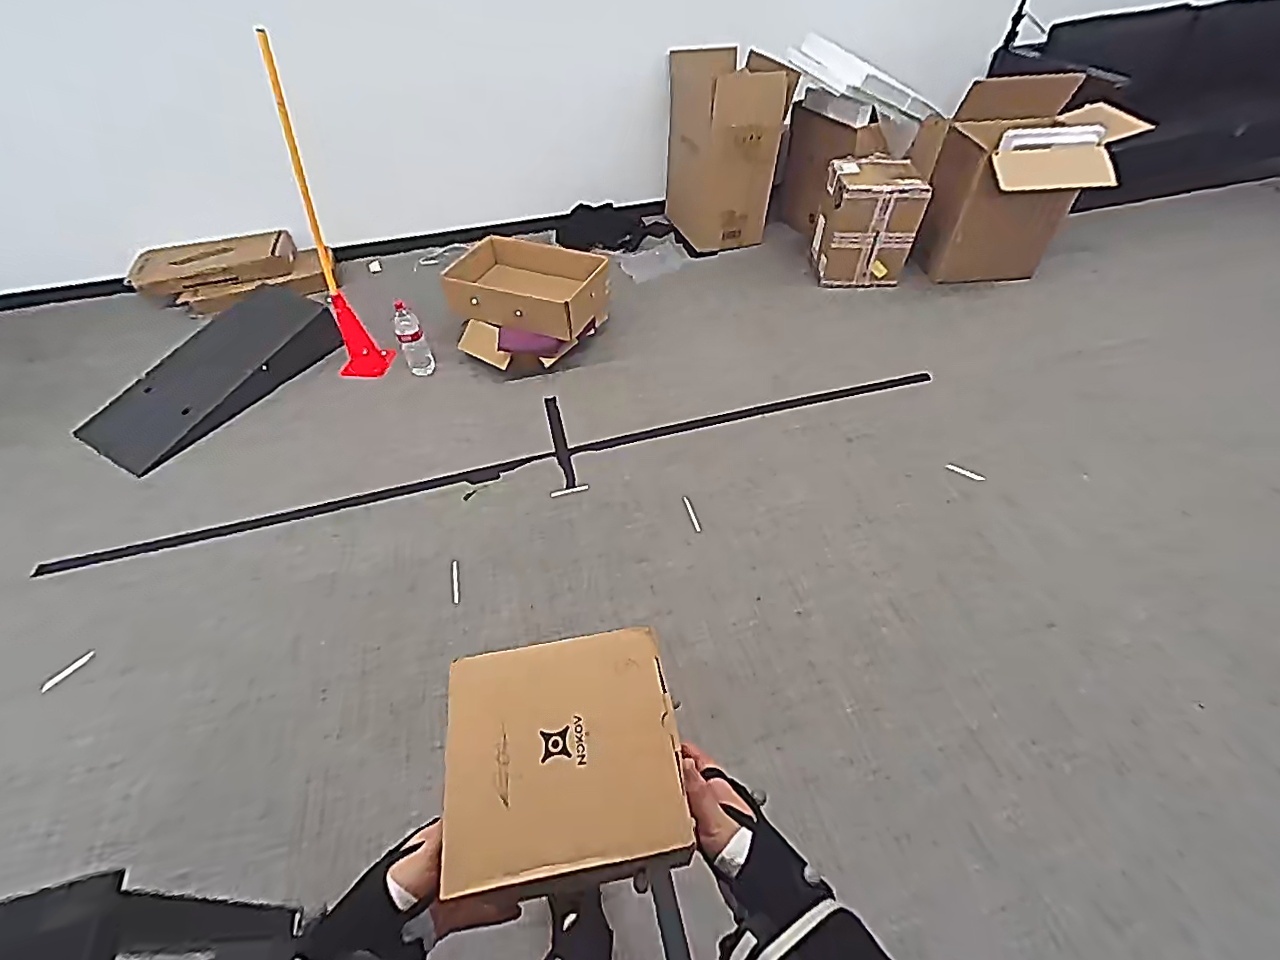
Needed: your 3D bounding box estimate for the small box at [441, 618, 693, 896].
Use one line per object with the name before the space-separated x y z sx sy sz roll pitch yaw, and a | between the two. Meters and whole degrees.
small box | -0.059 0.247 0.479 0.179 0.176 0.168 -11 50 -4
